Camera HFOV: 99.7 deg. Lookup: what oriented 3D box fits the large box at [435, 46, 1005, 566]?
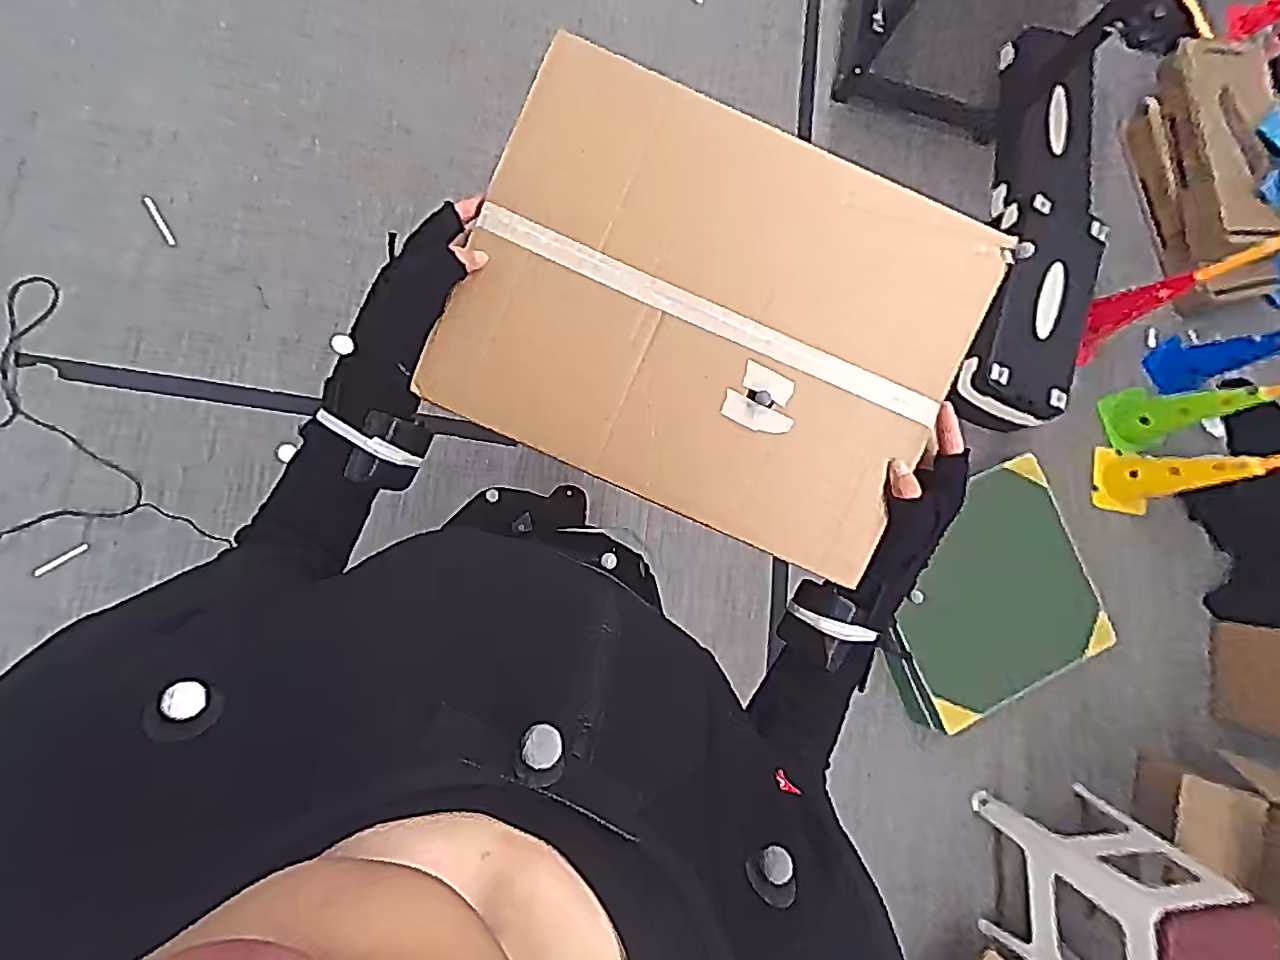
[{"bbox_3d":[0.064,-0.150,0.602,0.408,0.320,0.320,25,94,-1],"label":"large box"}]
